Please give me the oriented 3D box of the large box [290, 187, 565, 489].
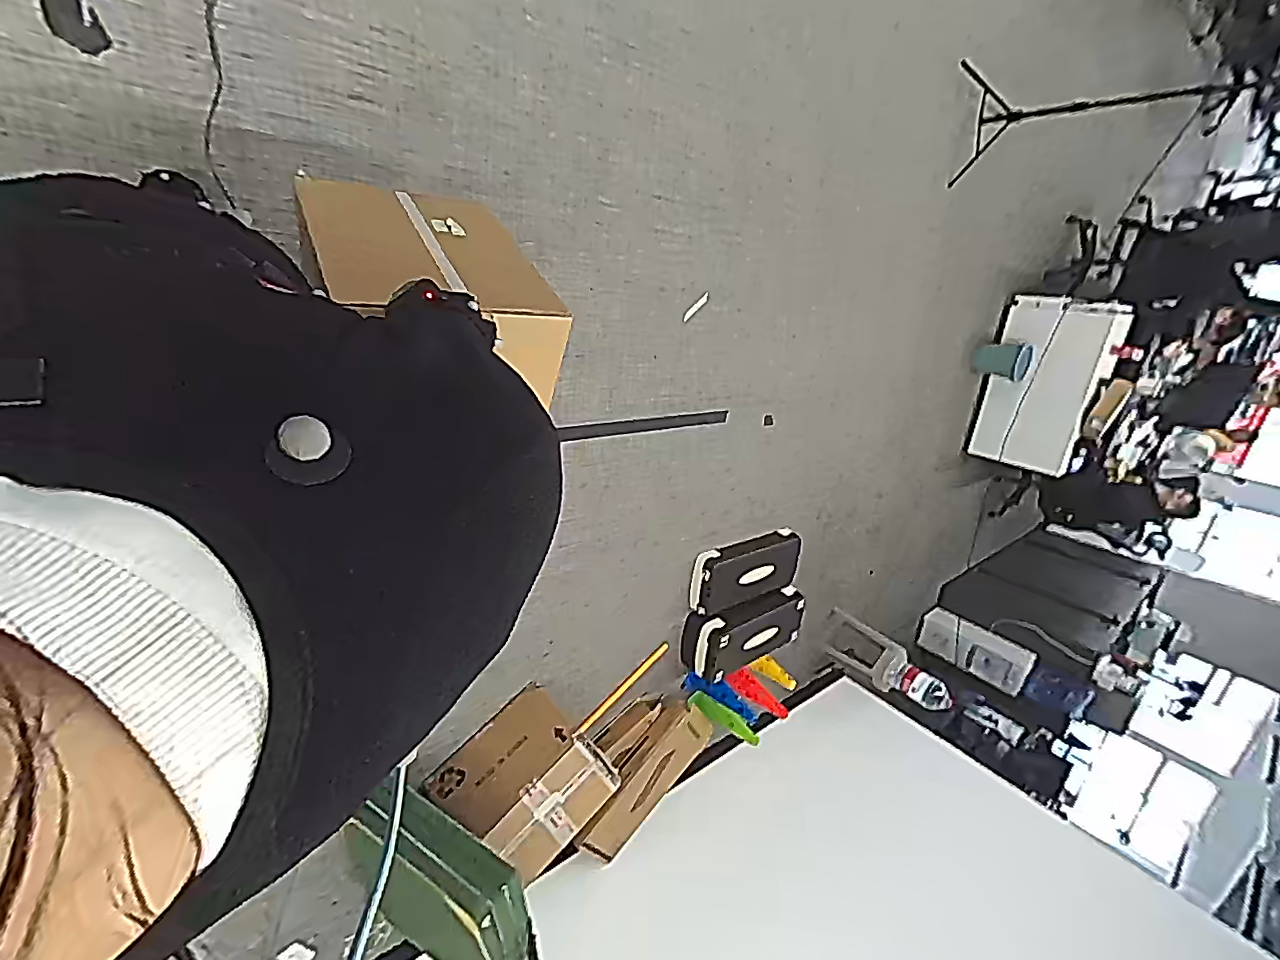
[{"bbox_3d":[-0.377,-0.243,0.923,0.320,0.408,0.320,-8,137,-36],"label":"large box"}]
